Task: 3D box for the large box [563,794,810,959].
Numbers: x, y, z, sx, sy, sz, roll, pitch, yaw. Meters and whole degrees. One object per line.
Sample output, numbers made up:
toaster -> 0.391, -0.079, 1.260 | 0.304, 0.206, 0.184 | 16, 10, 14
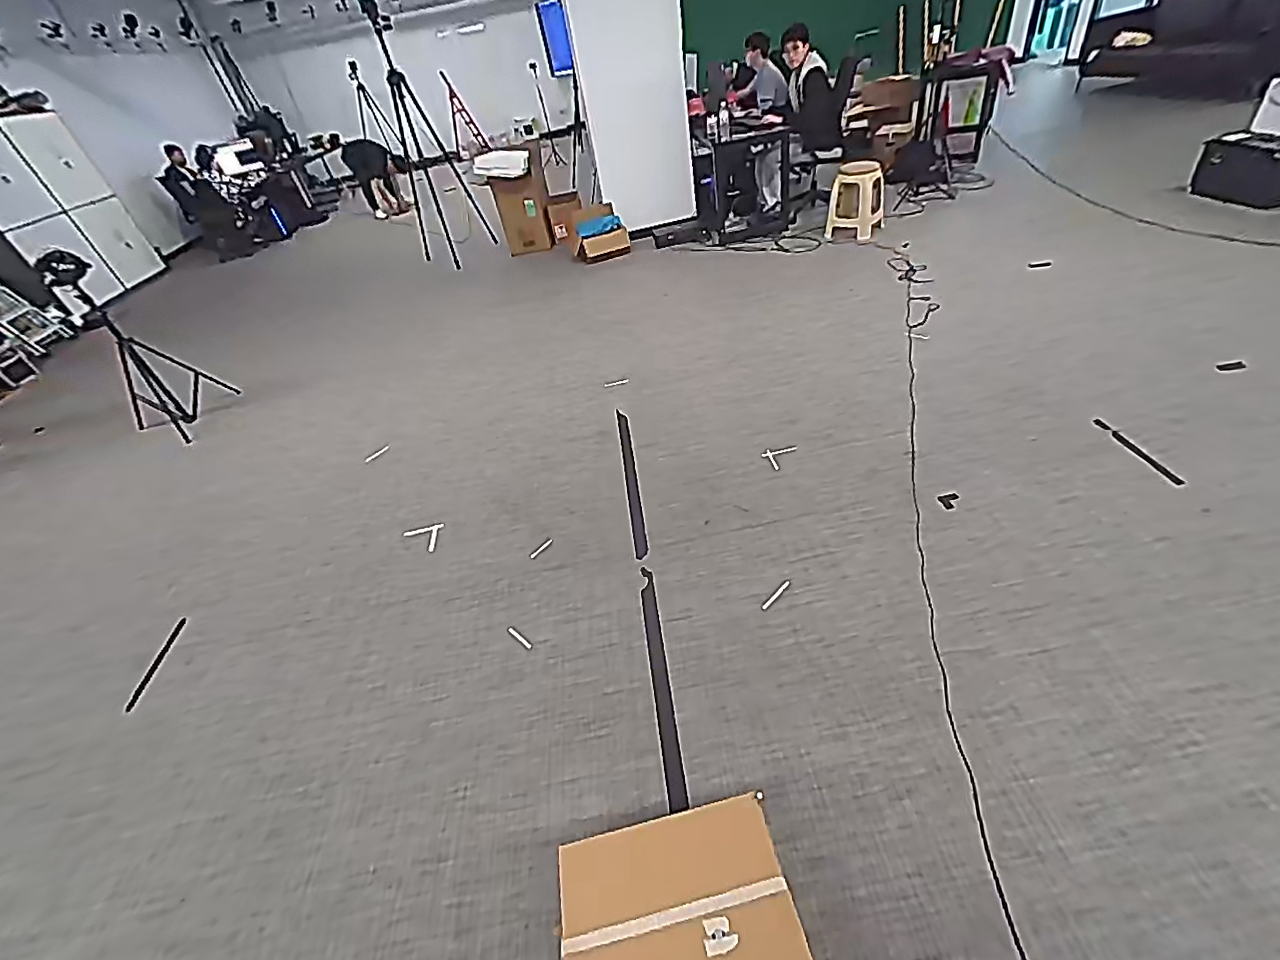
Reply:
large box -> 0.089, 0.885, 1.049 | 0.408, 0.320, 0.320 | -14, 39, -2
